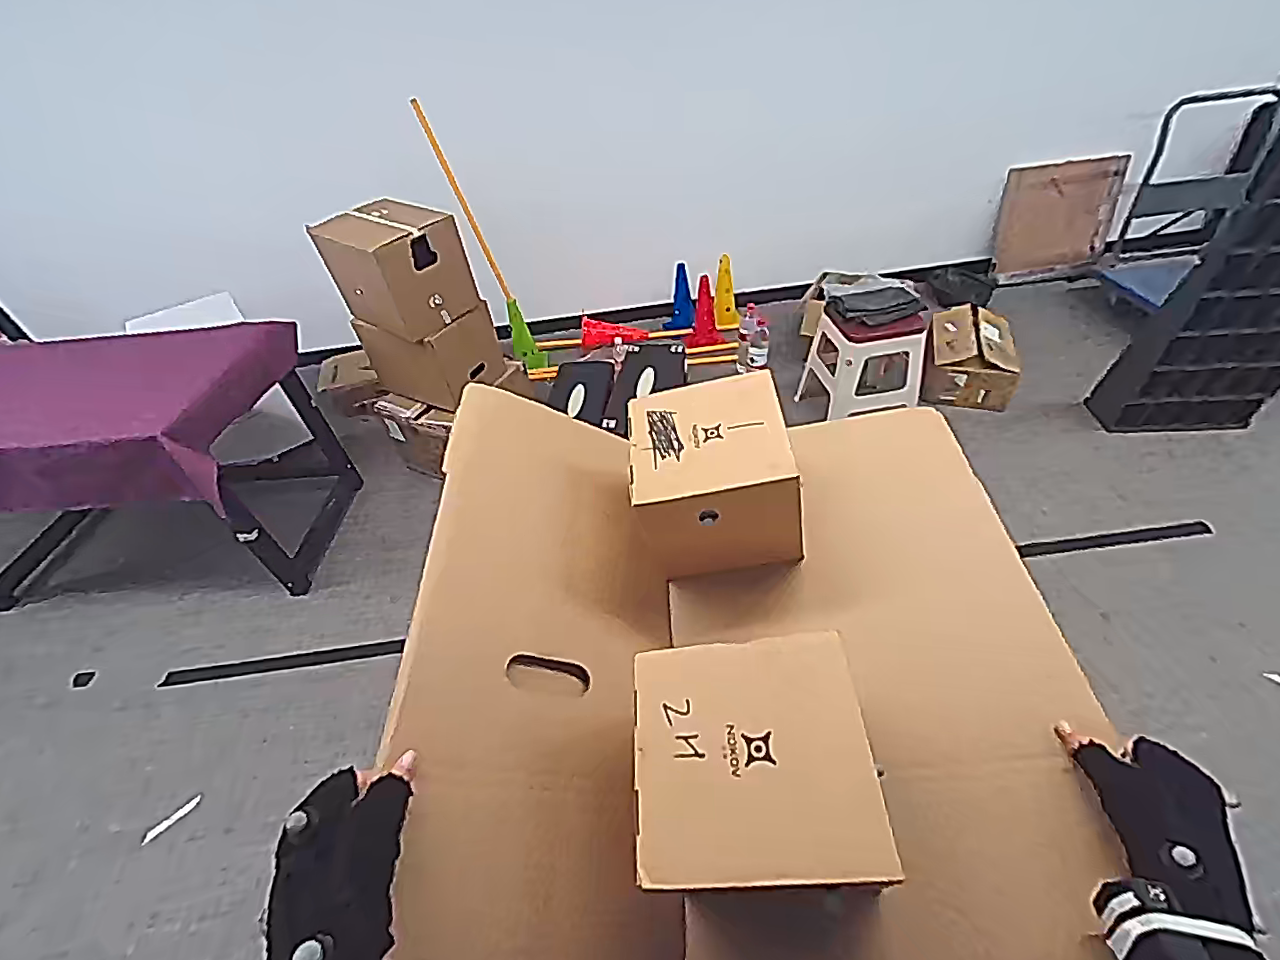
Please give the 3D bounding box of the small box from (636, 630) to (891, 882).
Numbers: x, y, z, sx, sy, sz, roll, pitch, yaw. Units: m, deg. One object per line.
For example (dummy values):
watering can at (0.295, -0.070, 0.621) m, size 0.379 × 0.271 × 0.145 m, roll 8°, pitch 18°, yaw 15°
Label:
small box at (0.101, 0.249, 0.479) m, size 0.179 × 0.176 × 0.168 m, roll -10°, pitch 50°, yaw 12°

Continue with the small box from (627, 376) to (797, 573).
small box at (0.091, 0.002, 0.678) m, size 0.179 × 0.176 × 0.168 m, roll -11°, pitch 51°, yaw 10°
